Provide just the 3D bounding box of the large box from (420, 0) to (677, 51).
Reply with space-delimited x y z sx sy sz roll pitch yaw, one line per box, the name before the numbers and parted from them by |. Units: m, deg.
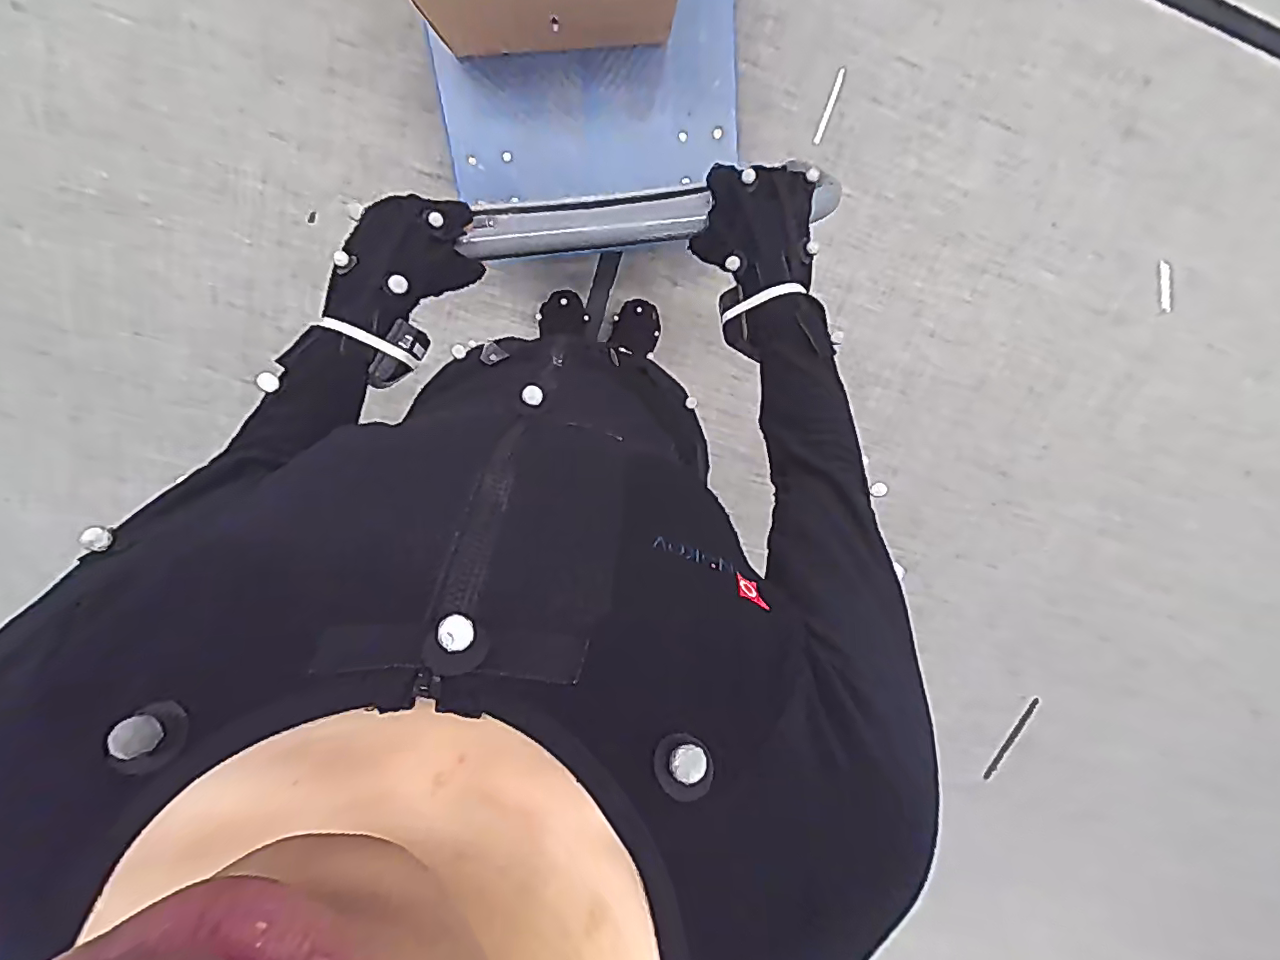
large box | -0.148 -0.904 0.823 0.408 0.320 0.320 -4 112 0
